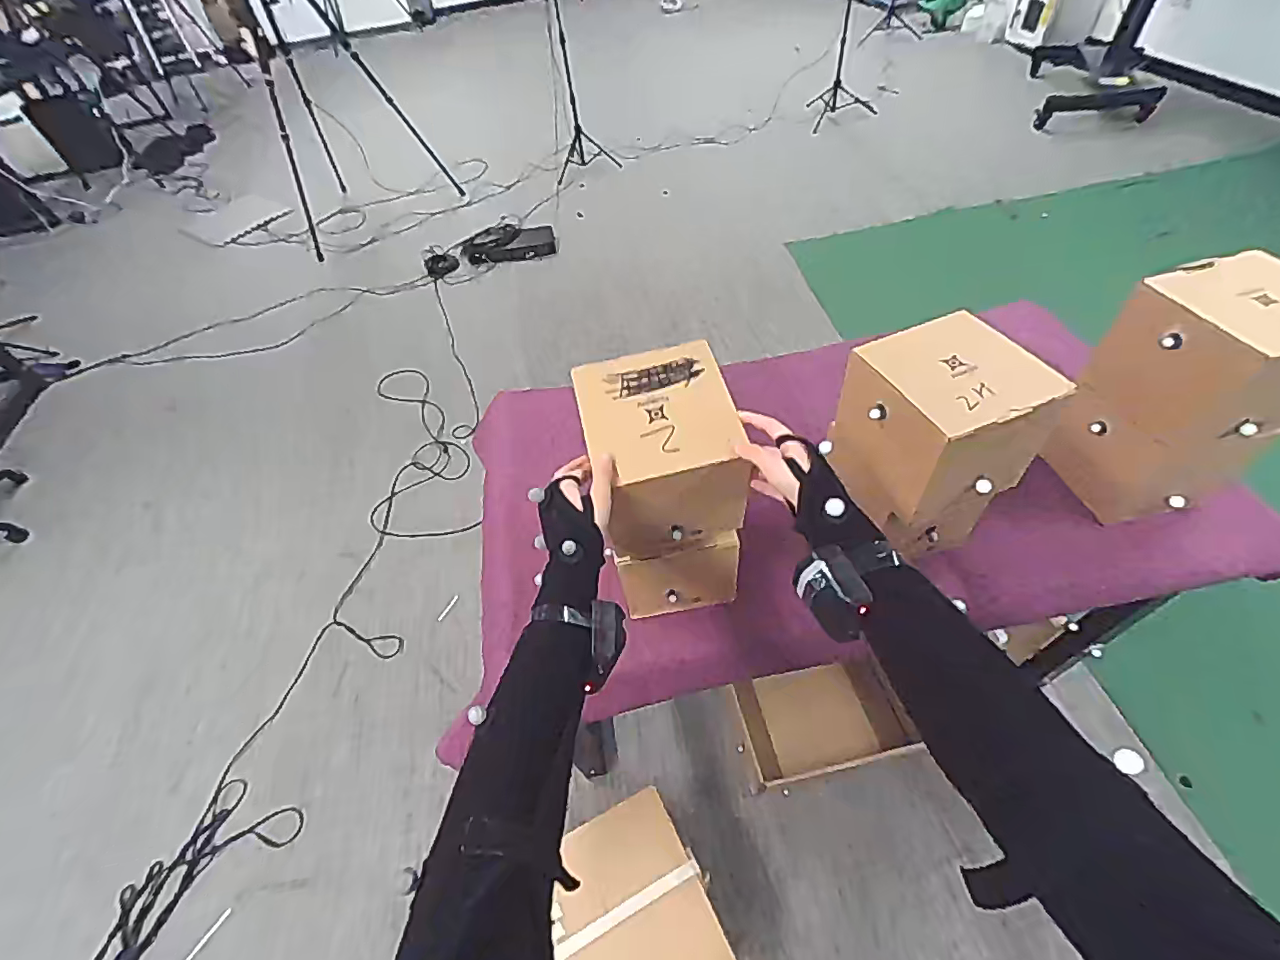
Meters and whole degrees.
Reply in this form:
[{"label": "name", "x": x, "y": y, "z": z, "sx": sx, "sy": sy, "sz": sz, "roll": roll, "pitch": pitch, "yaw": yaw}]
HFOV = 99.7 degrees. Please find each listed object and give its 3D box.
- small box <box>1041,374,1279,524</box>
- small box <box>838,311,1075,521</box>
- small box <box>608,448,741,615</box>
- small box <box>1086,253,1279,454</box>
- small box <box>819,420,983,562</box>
[{"label": "small box", "x": 0.772, "y": -0.059, "z": 0.828, "sx": 0.168, "sy": 0.176, "sz": 0.179, "roll": -12, "pitch": 50, "yaw": -1}, {"label": "small box", "x": 0.375, "y": -0.079, "z": 0.686, "sx": 0.168, "sy": 0.176, "sz": 0.179, "roll": -20, "pitch": 51, "yaw": -7}, {"label": "small box", "x": 0.048, "y": 0.079, "z": 0.819, "sx": 0.168, "sy": 0.176, "sz": 0.179, "roll": -10, "pitch": 51, "yaw": -1}, {"label": "small box", "x": 0.747, "y": -0.163, "z": 0.704, "sx": 0.168, "sy": 0.176, "sz": 0.179, "roll": -14, "pitch": 50, "yaw": -2}, {"label": "small box", "x": 0.396, "y": 0.007, "z": 0.828, "sx": 0.168, "sy": 0.176, "sz": 0.179, "roll": -14, "pitch": 50, "yaw": -4}]
